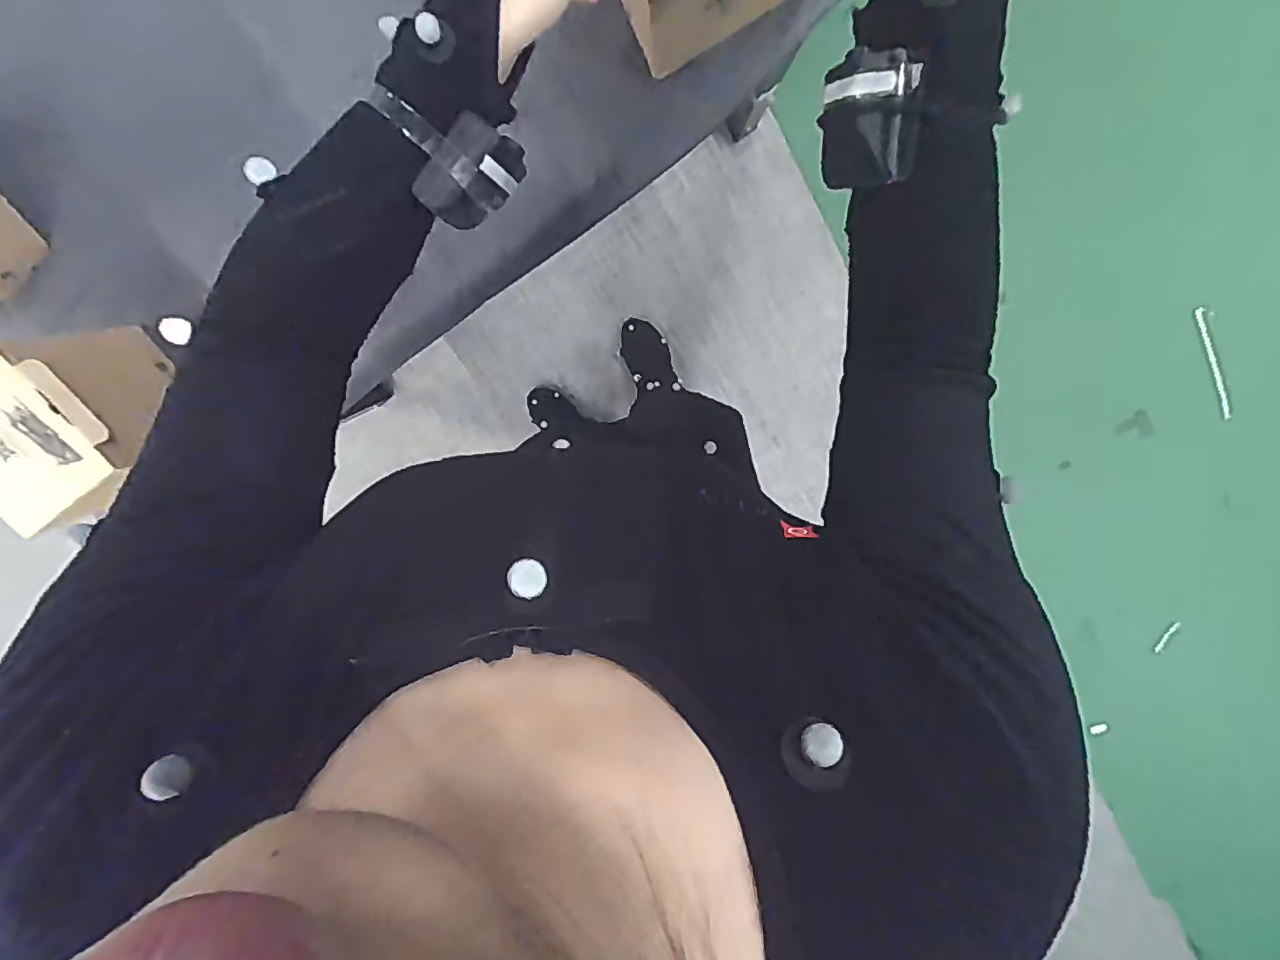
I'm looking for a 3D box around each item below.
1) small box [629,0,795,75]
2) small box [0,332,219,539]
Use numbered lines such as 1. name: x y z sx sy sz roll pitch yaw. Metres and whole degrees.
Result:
1. small box: 0.056 -0.492 0.454 0.179 0.176 0.168 -24 106 13
2. small box: -0.678 -0.064 0.666 0.179 0.176 0.168 -29 107 14
